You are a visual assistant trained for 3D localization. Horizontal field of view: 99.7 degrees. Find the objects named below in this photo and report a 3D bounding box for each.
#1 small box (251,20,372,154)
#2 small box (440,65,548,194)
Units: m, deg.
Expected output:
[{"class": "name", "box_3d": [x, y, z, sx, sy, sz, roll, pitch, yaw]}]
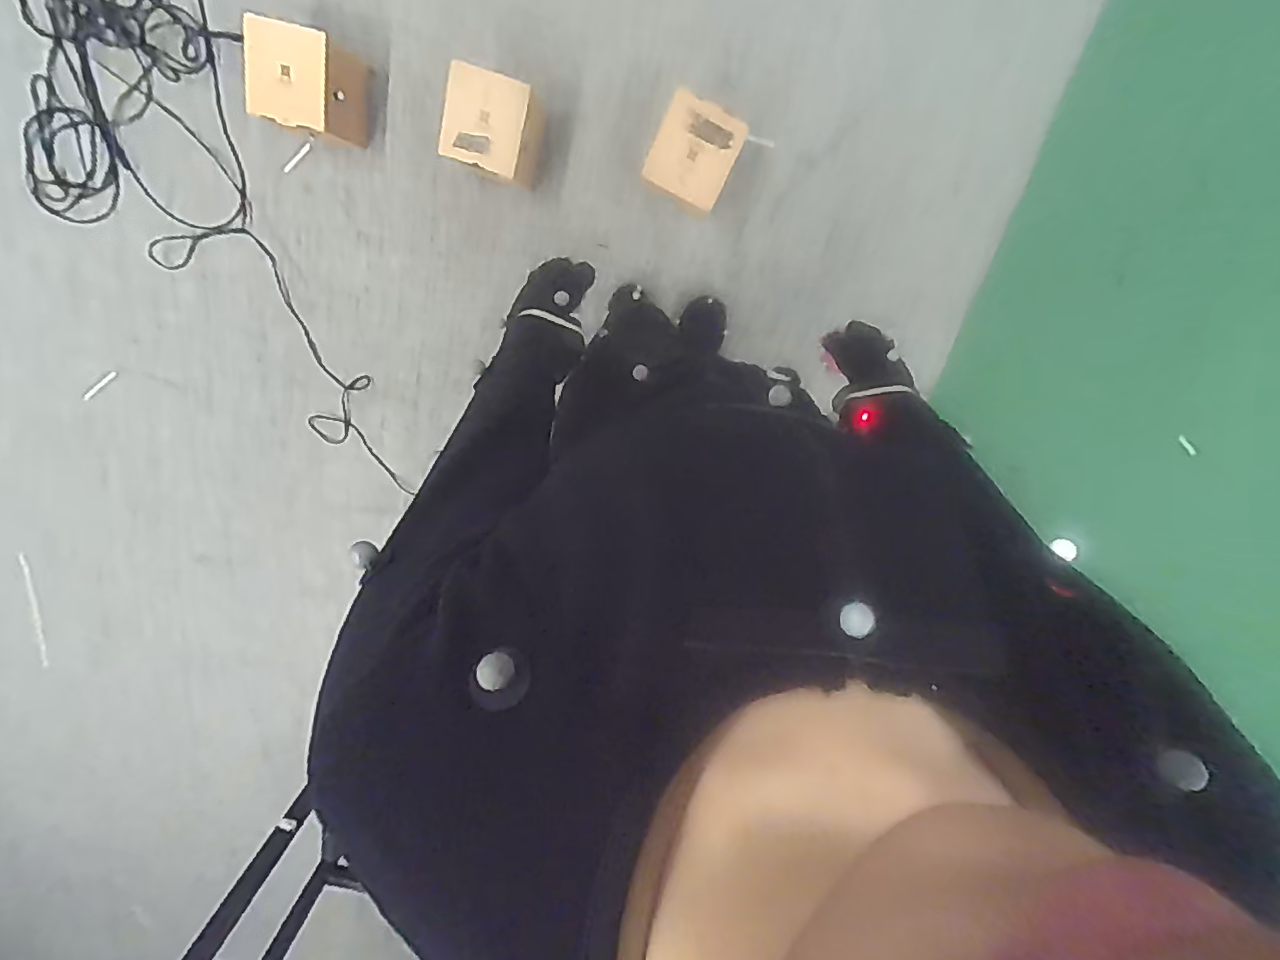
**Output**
[{"class": "small box", "box_3d": [-0.703, -0.838, 1.172, 0.168, 0.176, 0.179, 13, 111, -1]}, {"class": "small box", "box_3d": [-0.311, -0.749, 1.180, 0.168, 0.176, 0.179, 18, 110, -3]}]
